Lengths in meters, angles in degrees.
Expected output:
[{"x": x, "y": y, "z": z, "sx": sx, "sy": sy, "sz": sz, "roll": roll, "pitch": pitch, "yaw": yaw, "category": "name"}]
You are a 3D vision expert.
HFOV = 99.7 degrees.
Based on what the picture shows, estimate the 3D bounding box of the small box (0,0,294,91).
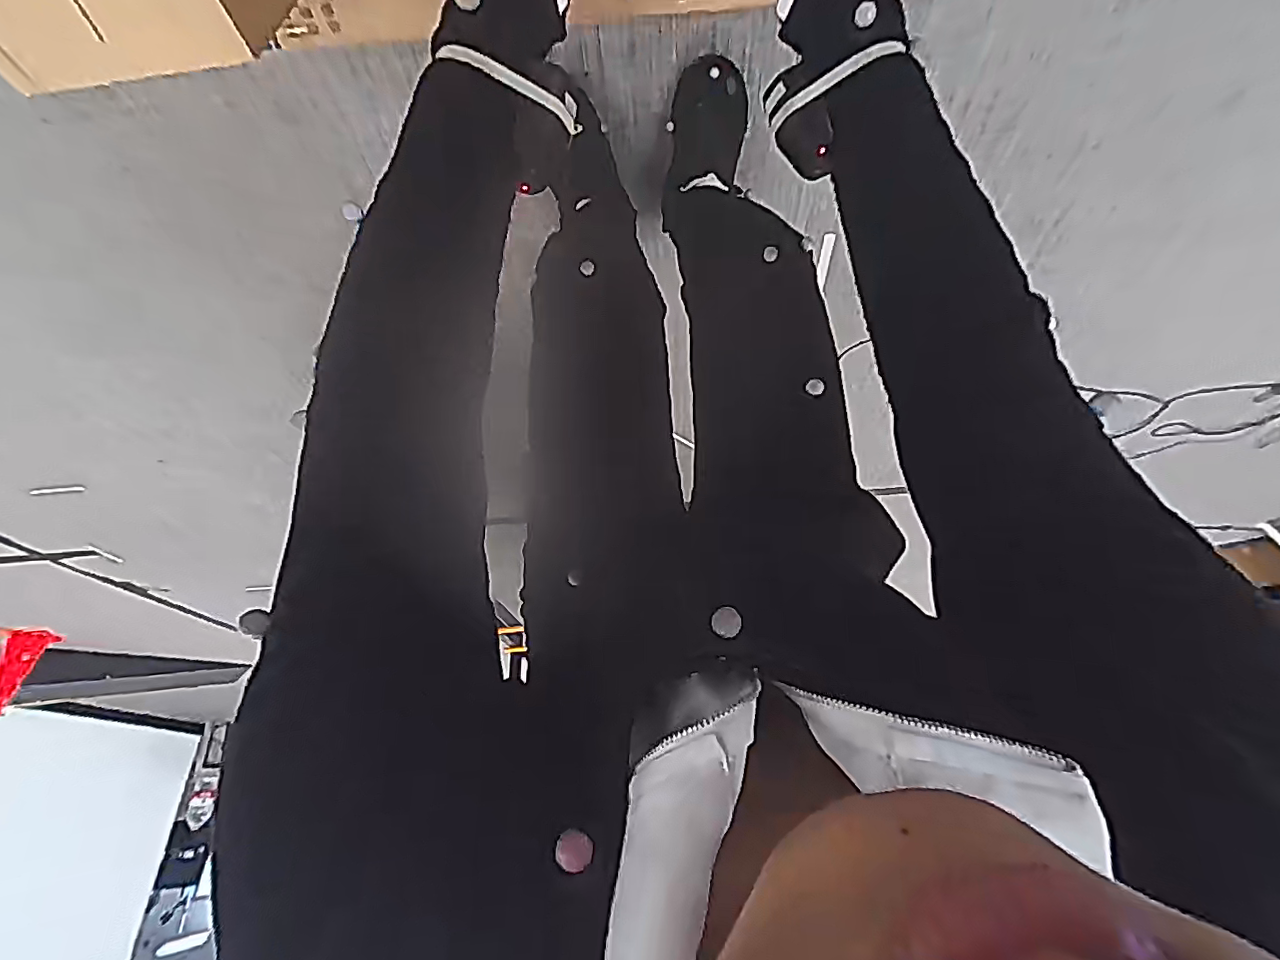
[{"x": -0.342, "y": -0.379, "z": 0.325, "sx": 0.168, "sy": 0.176, "sz": 0.179, "roll": -6, "pitch": 148, "yaw": 2, "category": "small box"}]
